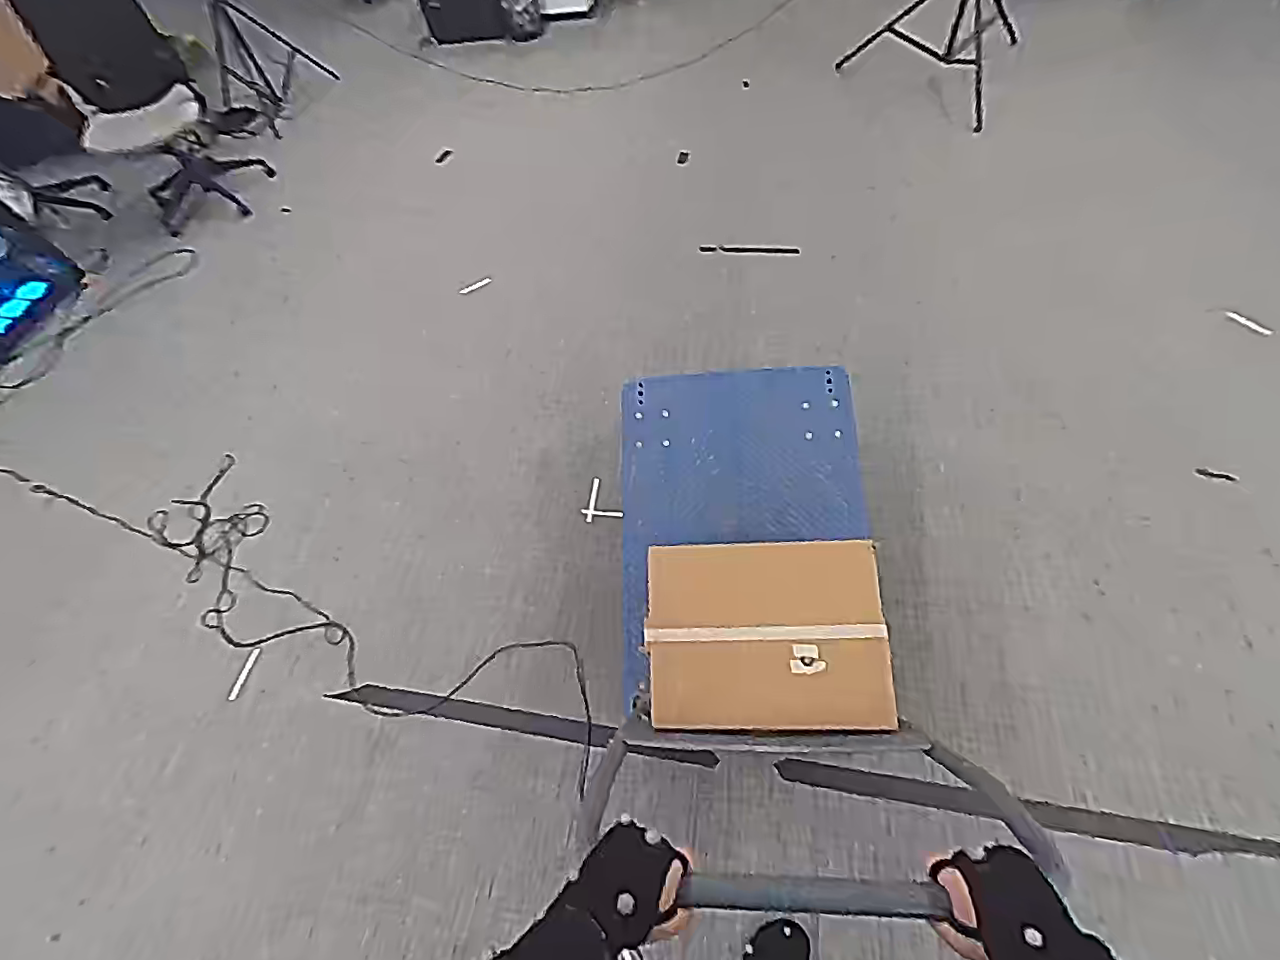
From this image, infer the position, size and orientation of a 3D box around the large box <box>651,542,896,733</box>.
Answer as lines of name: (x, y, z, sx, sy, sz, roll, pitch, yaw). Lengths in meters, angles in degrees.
large box: (0.238, 0.315, 1.096, 0.408, 0.320, 0.320, -4, 75, 5)
